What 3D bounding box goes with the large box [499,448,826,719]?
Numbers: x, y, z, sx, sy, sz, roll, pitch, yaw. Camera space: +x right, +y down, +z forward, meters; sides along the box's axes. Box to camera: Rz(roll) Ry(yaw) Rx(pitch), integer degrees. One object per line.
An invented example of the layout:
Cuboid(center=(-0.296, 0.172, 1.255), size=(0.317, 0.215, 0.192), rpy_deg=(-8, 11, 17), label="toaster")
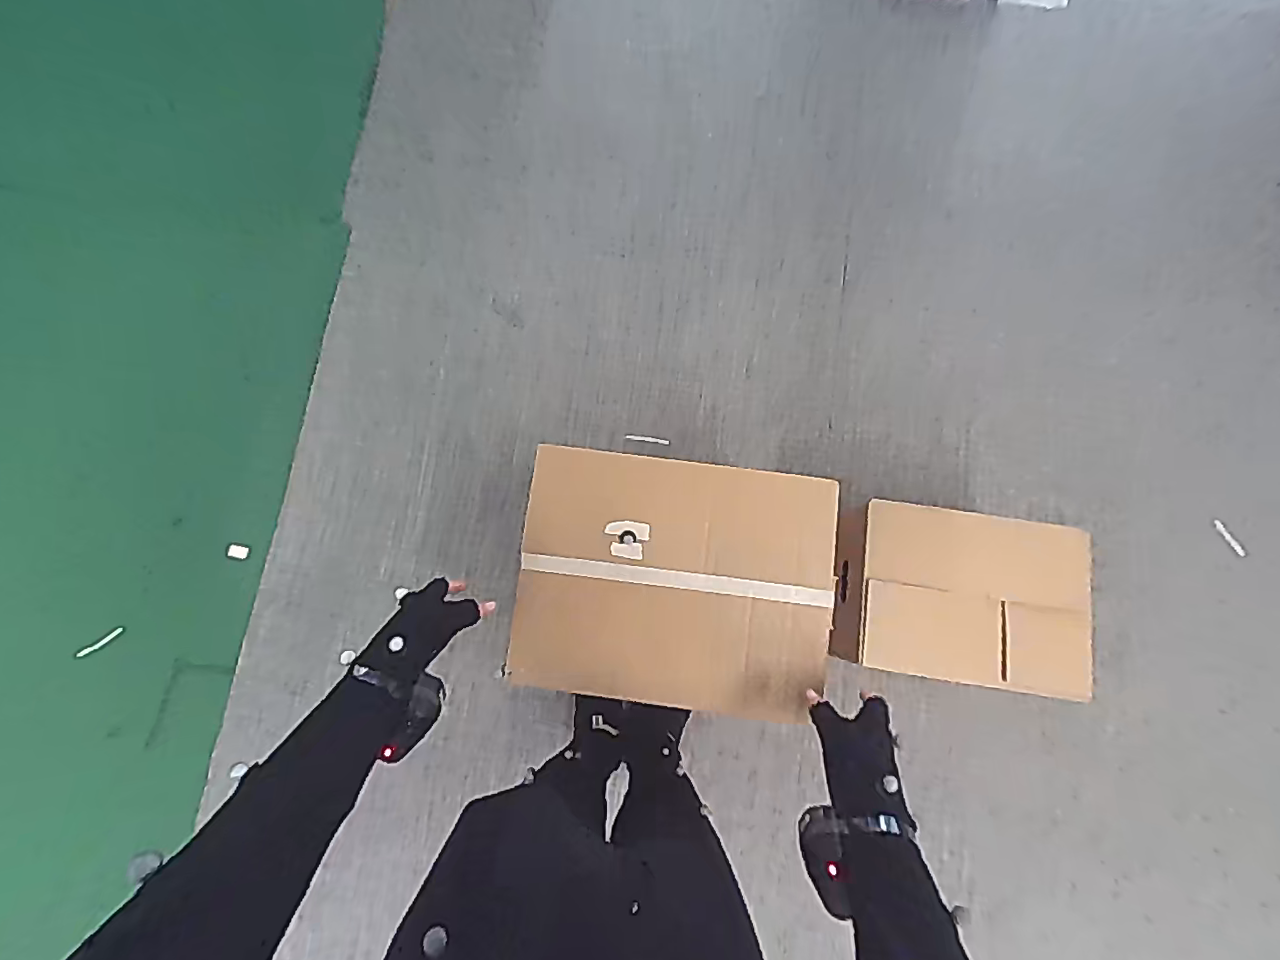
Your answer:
Cuboid(center=(0.040, 0.146, 0.848), size=(0.408, 0.320, 0.320), rpy_deg=(7, 82, 3), label="large box")
